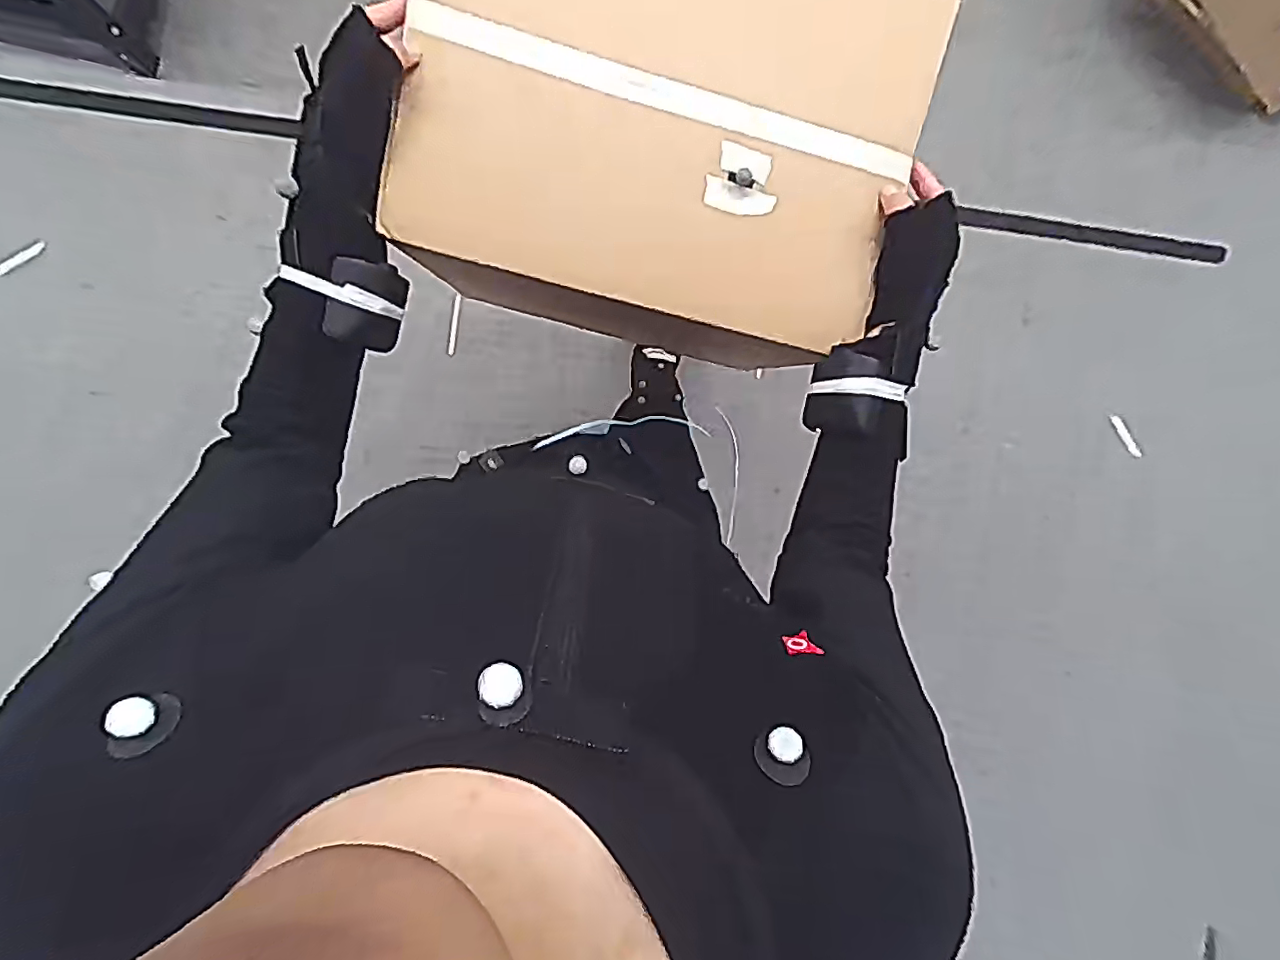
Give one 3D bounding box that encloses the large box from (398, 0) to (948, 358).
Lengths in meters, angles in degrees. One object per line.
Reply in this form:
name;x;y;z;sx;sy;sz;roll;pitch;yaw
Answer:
large box;0.012;-0.332;0.579;0.408;0.320;0.320;12;100;-9
